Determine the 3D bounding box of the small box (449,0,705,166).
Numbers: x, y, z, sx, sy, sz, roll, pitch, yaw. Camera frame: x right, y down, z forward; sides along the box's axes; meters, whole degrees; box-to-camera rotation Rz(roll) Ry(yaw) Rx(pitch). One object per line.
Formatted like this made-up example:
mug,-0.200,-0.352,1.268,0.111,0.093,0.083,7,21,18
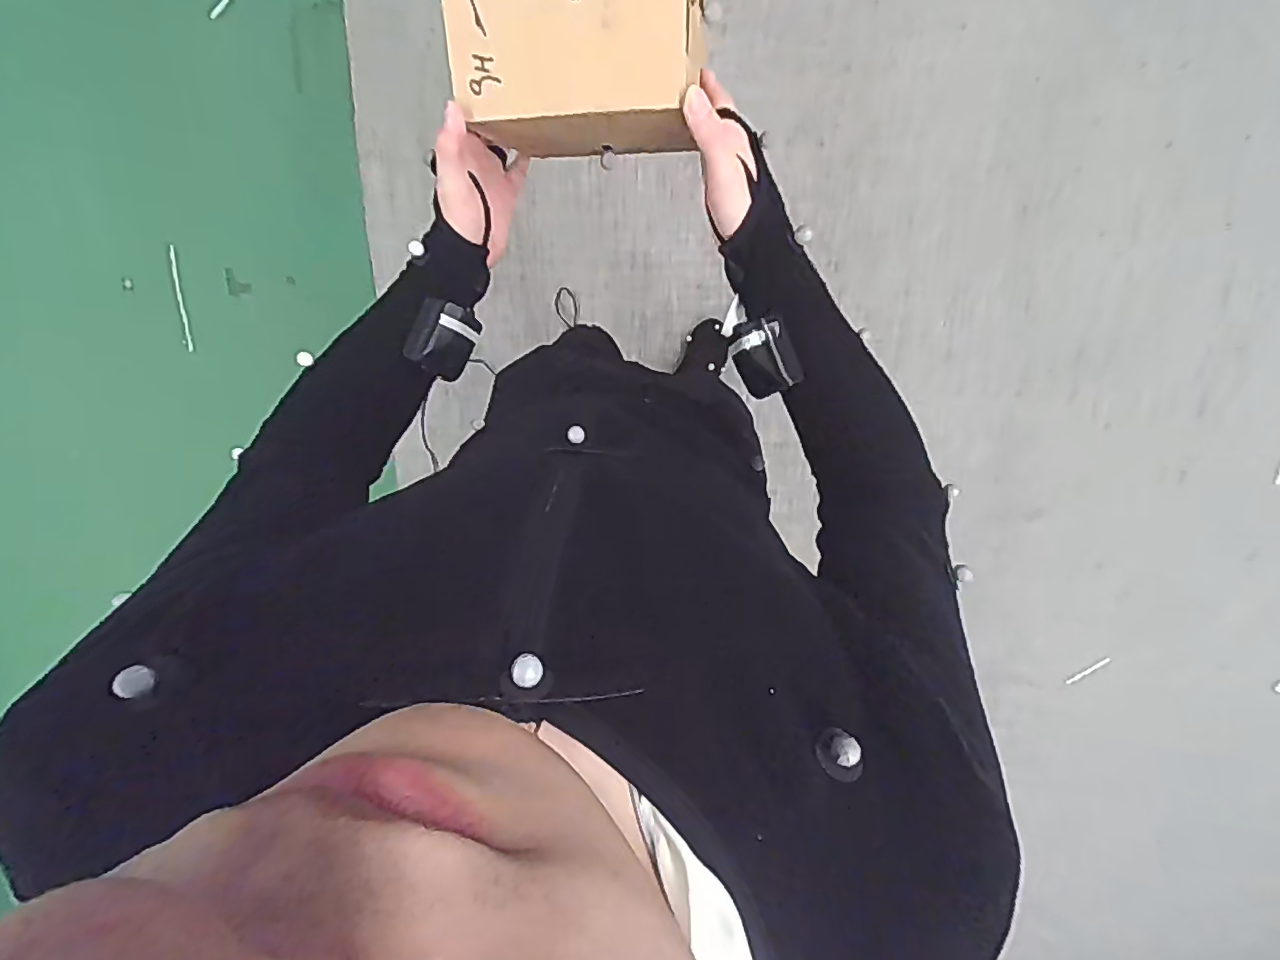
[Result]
small box,-0.037,-0.363,0.436,0.179,0.176,0.168,2,111,8
